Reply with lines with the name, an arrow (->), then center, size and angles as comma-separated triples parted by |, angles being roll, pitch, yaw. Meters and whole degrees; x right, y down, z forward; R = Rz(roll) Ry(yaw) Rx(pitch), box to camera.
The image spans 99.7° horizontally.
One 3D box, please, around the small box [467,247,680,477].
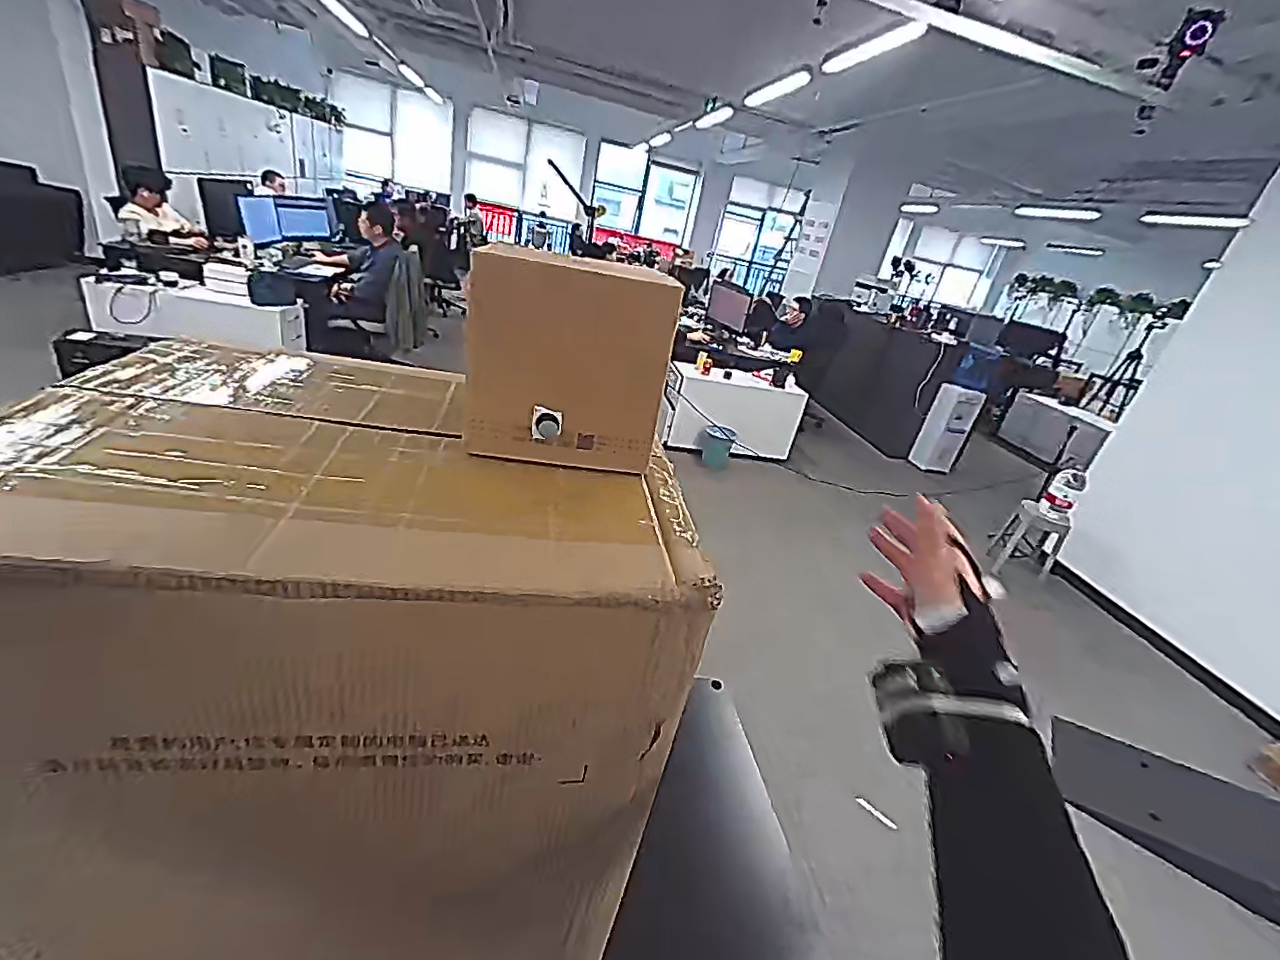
small box -> -0.070, -0.118, 0.521 | 0.168, 0.176, 0.179 | 4, 25, -11
